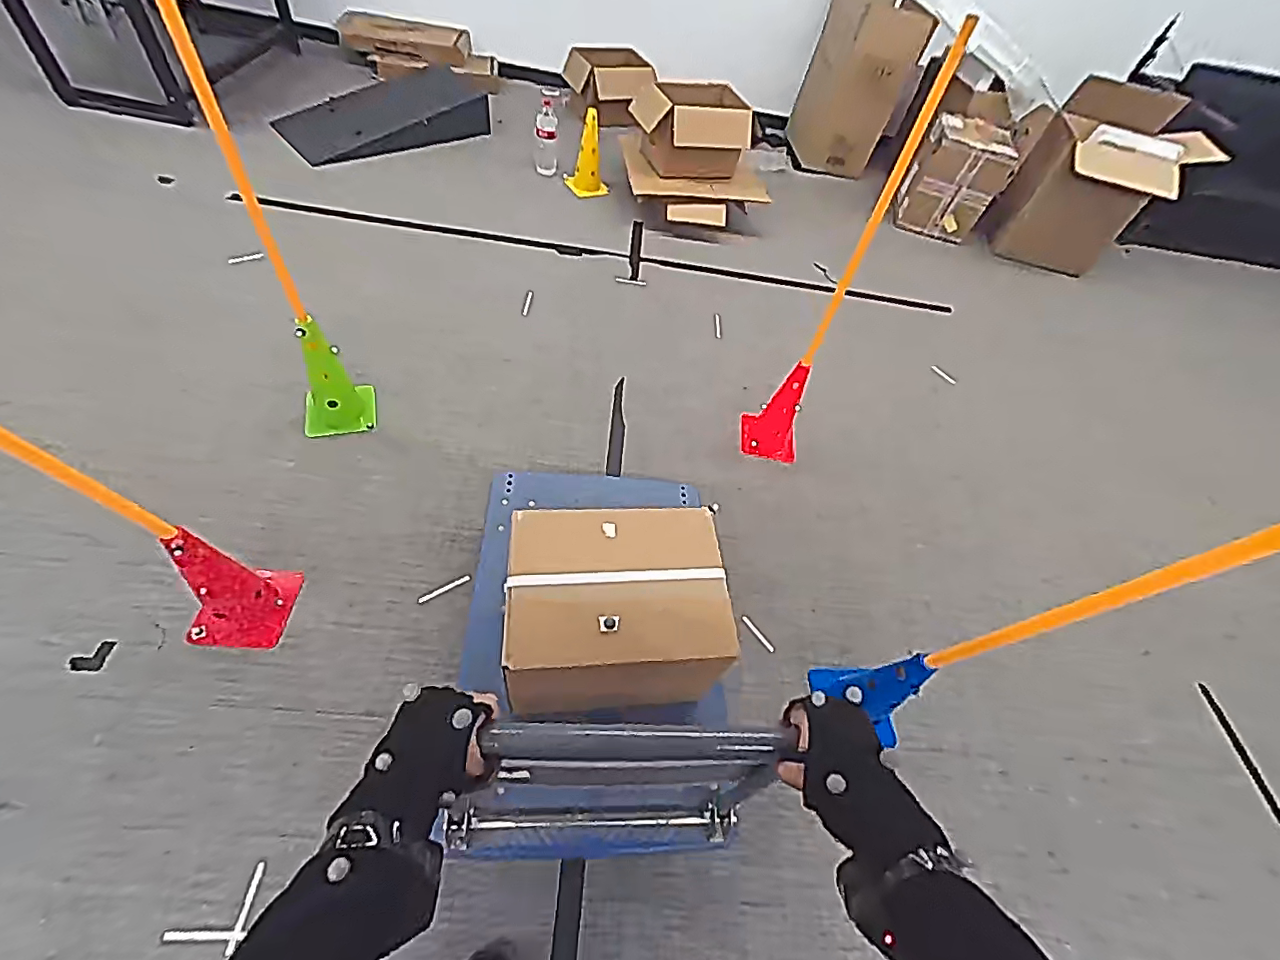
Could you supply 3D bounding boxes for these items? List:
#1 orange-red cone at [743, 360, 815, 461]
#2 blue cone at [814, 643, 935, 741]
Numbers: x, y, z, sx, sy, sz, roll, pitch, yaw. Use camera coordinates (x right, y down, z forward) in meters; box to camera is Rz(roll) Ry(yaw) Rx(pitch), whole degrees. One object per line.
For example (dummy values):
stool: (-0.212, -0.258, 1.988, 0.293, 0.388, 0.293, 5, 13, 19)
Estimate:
orange-red cone: (0.500, -0.258, 1.814, 0.199, 0.360, 0.198, 13, 53, -2)
blue cone: (0.589, 0.486, 1.297, 0.193, 0.380, 0.192, 4, 52, -8)
